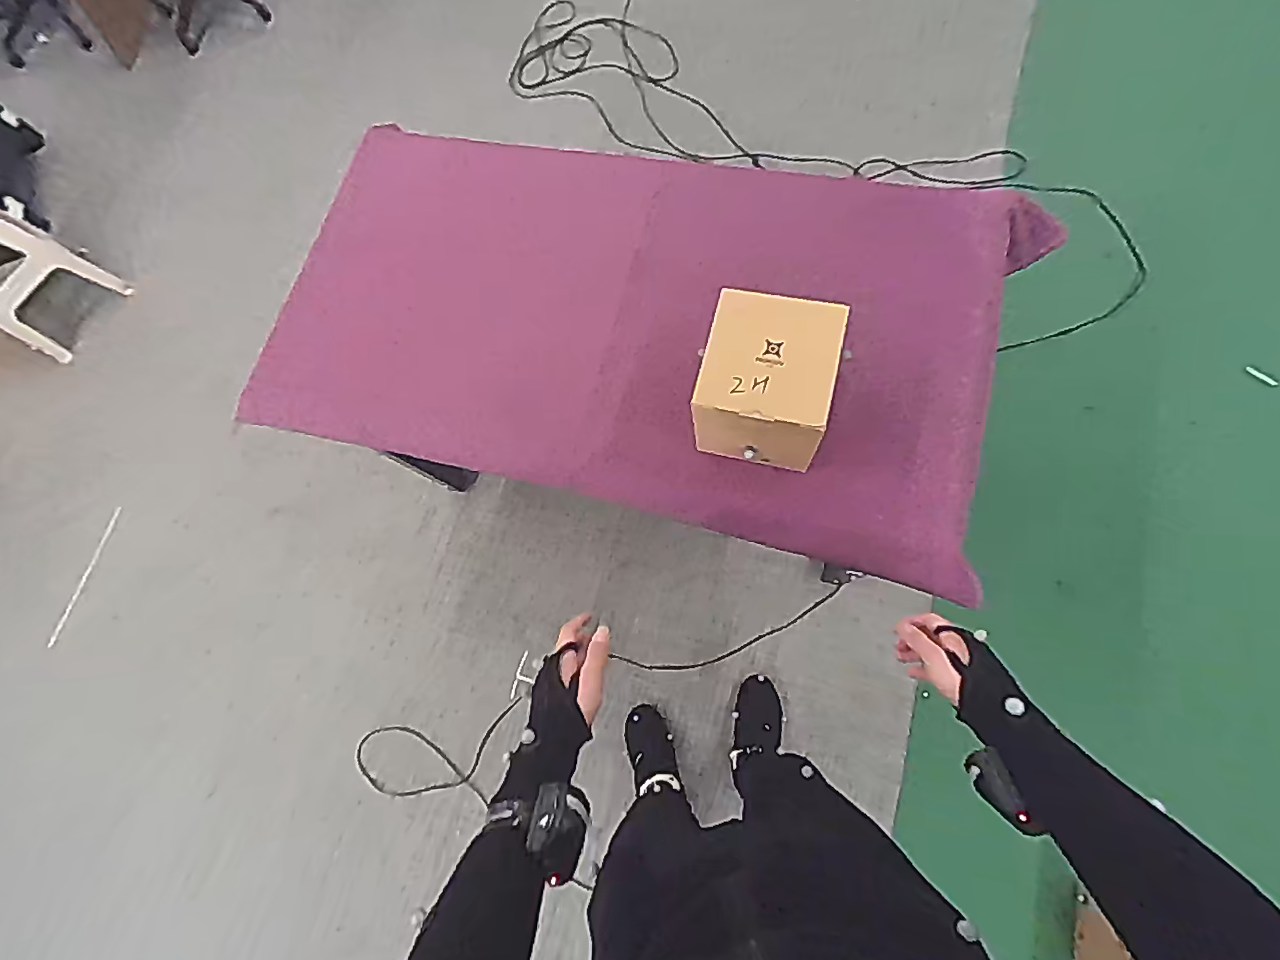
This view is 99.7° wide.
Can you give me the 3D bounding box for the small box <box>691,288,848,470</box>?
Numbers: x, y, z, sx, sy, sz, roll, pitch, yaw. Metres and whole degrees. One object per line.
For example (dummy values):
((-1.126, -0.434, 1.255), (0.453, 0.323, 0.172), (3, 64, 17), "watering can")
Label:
((0.174, -0.133, 0.754), (0.168, 0.176, 0.179), (14, 76, 13), "small box")
